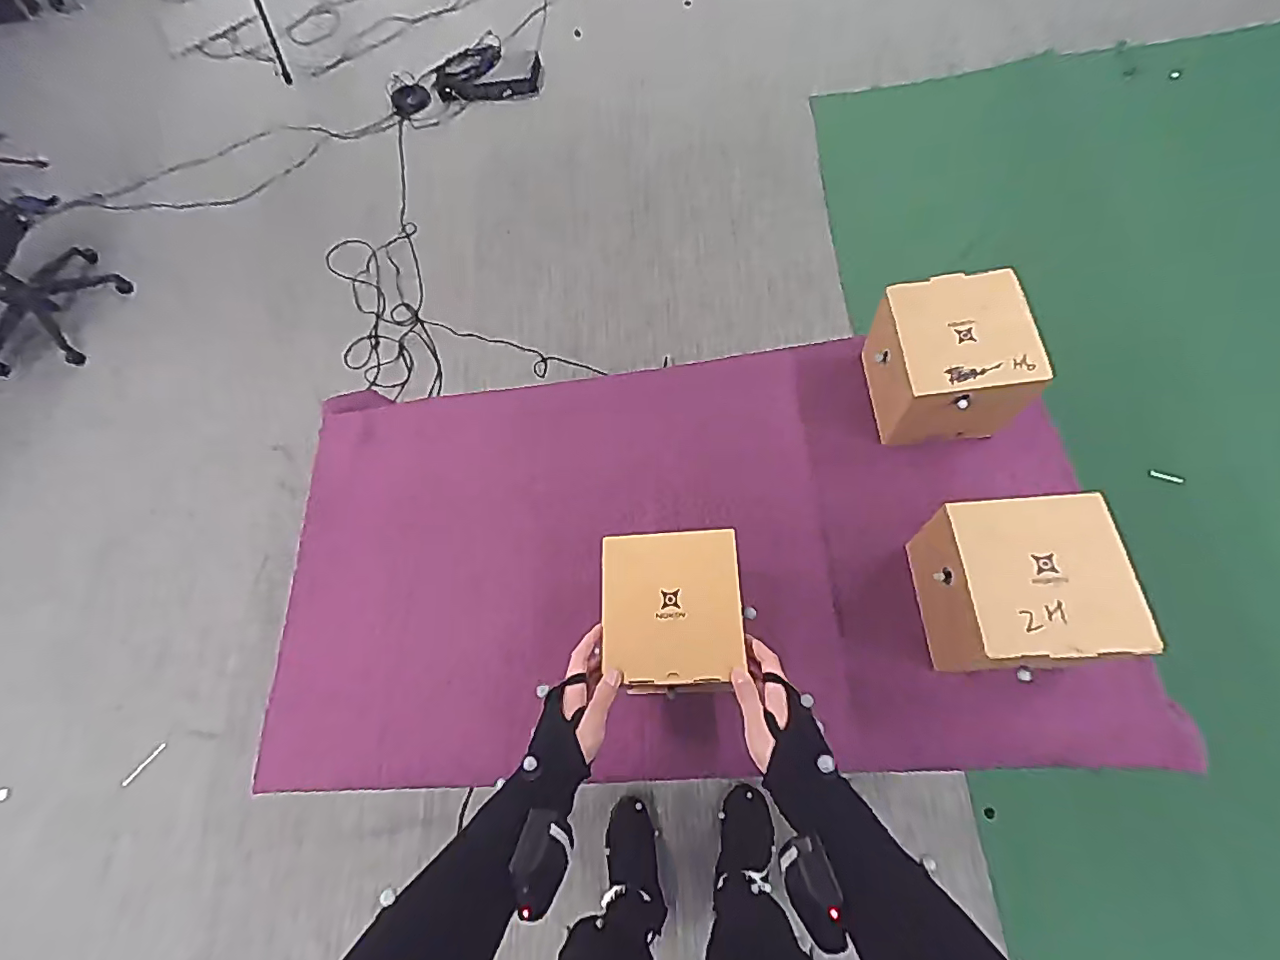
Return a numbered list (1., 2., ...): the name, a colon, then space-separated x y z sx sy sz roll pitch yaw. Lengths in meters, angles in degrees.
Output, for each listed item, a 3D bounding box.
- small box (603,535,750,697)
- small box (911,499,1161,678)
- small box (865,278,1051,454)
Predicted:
1. small box: 0.049 0.183 0.703 0.168 0.176 0.179 -4 66 7
2. small box: 0.448 0.138 0.652 0.168 0.176 0.179 -4 65 9
3. small box: 0.437 -0.156 0.780 0.168 0.176 0.179 -6 67 9
